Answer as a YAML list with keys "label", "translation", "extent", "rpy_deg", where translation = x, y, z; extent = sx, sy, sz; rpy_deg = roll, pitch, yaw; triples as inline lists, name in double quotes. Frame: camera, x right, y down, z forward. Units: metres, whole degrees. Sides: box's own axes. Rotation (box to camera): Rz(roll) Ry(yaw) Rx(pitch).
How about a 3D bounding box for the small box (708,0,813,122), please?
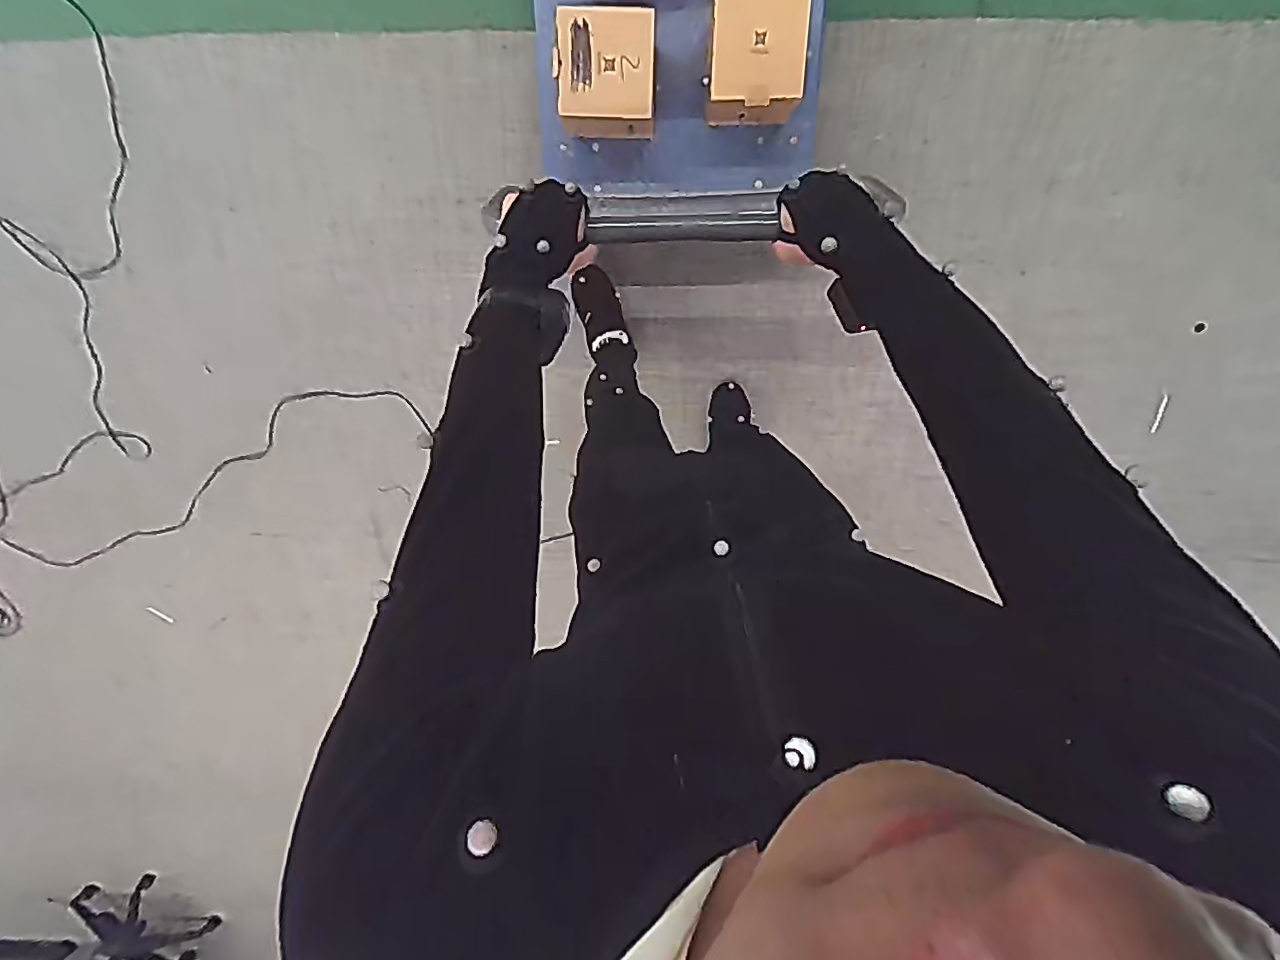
- label: "small box"
  translation: [0.219, -0.800, 1.022]
  extent: [0.168, 0.176, 0.179]
  rpy_deg: [0, 112, 3]
